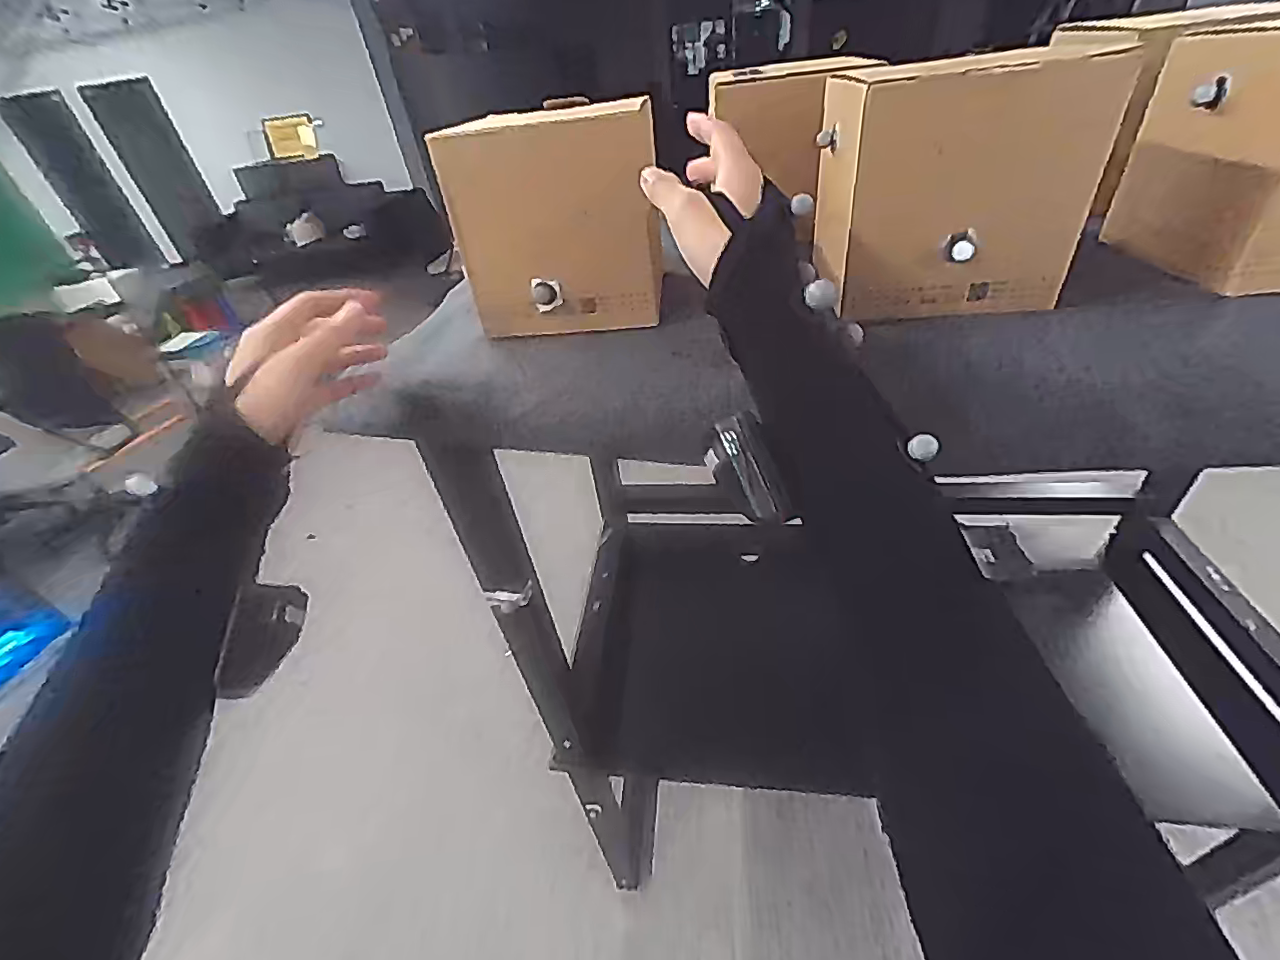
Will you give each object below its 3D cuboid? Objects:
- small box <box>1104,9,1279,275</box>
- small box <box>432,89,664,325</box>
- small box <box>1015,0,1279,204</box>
[{"bbox_3d":[0.523,-0.264,0.420,0.168,0.176,0.179,-1,36,9],"label":"small box"},{"bbox_3d":[-0.067,-0.261,0.517,0.168,0.176,0.179,-3,37,7],"label":"small box"},{"bbox_3d":[0.568,-0.423,0.615,0.168,0.176,0.179,-1,38,9],"label":"small box"}]
